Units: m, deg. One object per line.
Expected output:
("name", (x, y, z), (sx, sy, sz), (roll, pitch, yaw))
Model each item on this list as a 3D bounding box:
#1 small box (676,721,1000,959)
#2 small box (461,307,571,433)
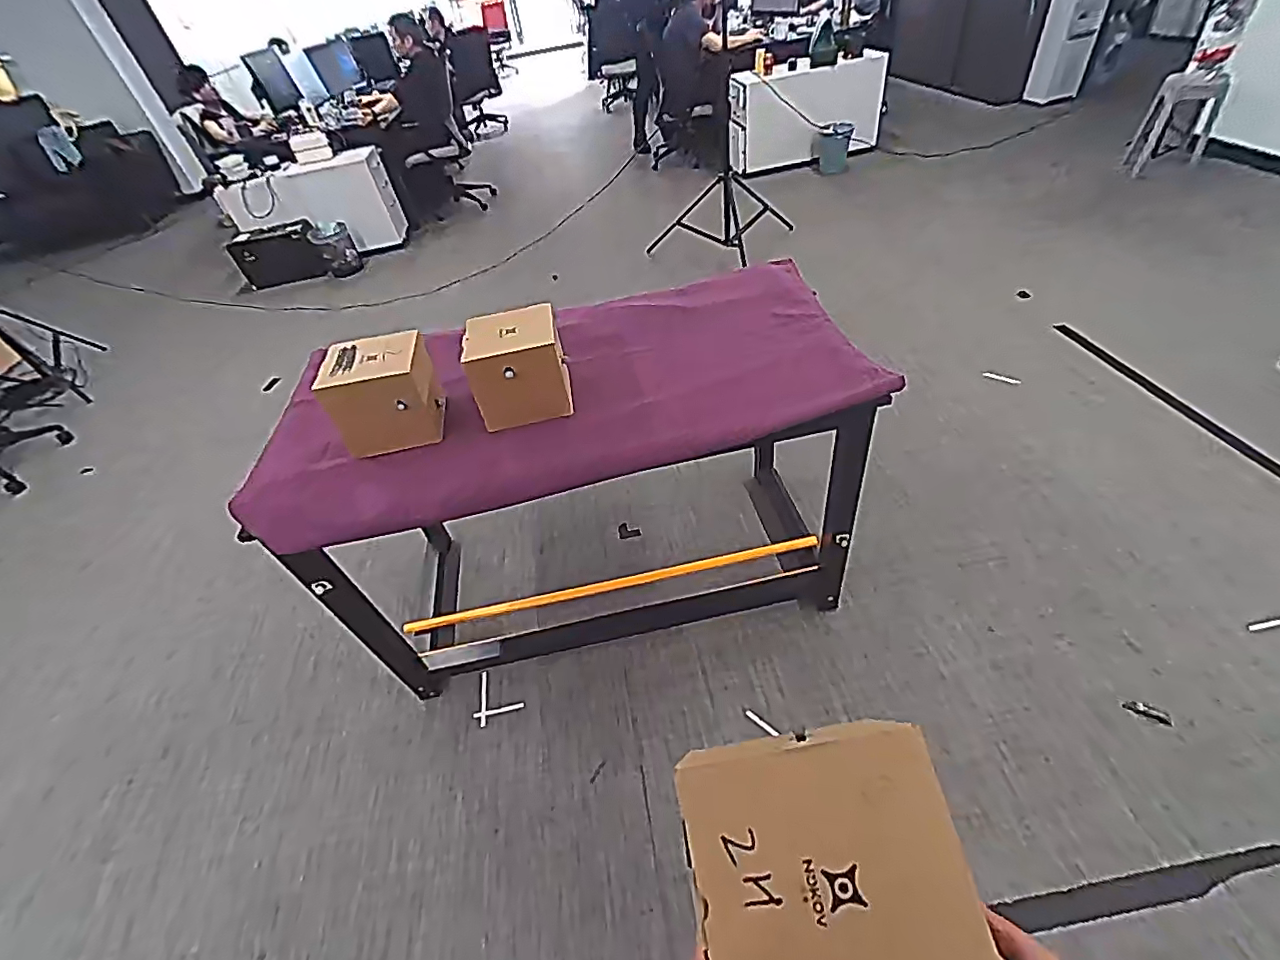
("small box", (0.133, 0.288, 0.417), (0.179, 0.176, 0.168), (-13, 65, 5))
("small box", (-0.240, -0.218, 1.086), (0.179, 0.176, 0.168), (-13, 44, -1))
